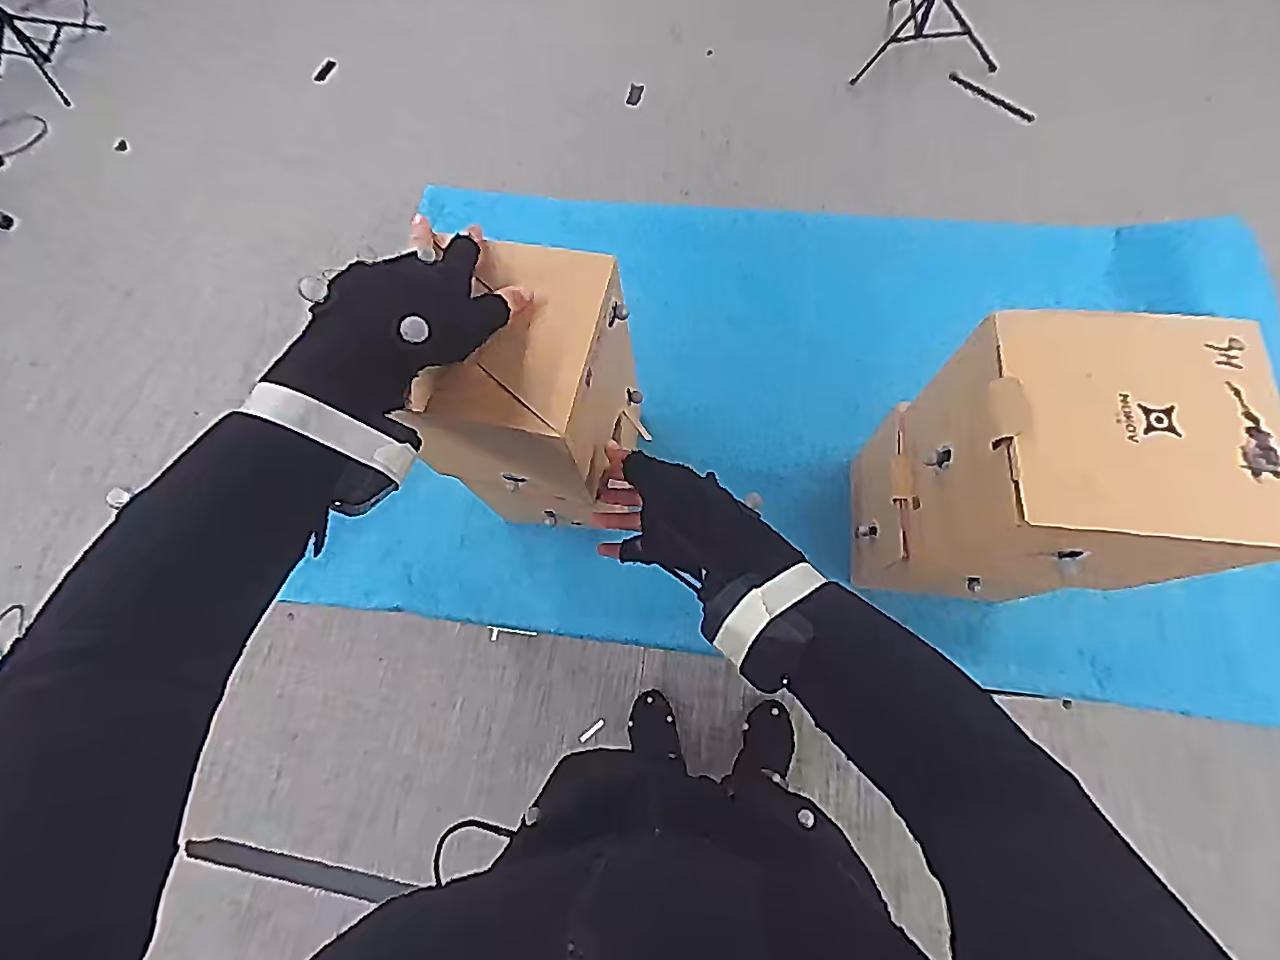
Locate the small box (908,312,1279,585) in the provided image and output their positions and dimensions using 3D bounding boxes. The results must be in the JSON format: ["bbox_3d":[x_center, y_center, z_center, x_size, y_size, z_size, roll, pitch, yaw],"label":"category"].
[{"bbox_3d":[0.332,-0.013,0.431,0.179,0.176,0.168,2,71,5],"label":"small box"}]

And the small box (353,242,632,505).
[{"bbox_3d":[-0.117,-0.090,0.497,0.179,0.176,0.168,11,71,8],"label":"small box"}]

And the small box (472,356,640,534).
[{"bbox_3d":[-0.097,-0.047,0.656,0.168,0.176,0.179,8,73,10],"label":"small box"}]

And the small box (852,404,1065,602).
[{"bbox_3d":[0.339,0.034,0.587,0.179,0.176,0.168,6,71,7],"label":"small box"}]
